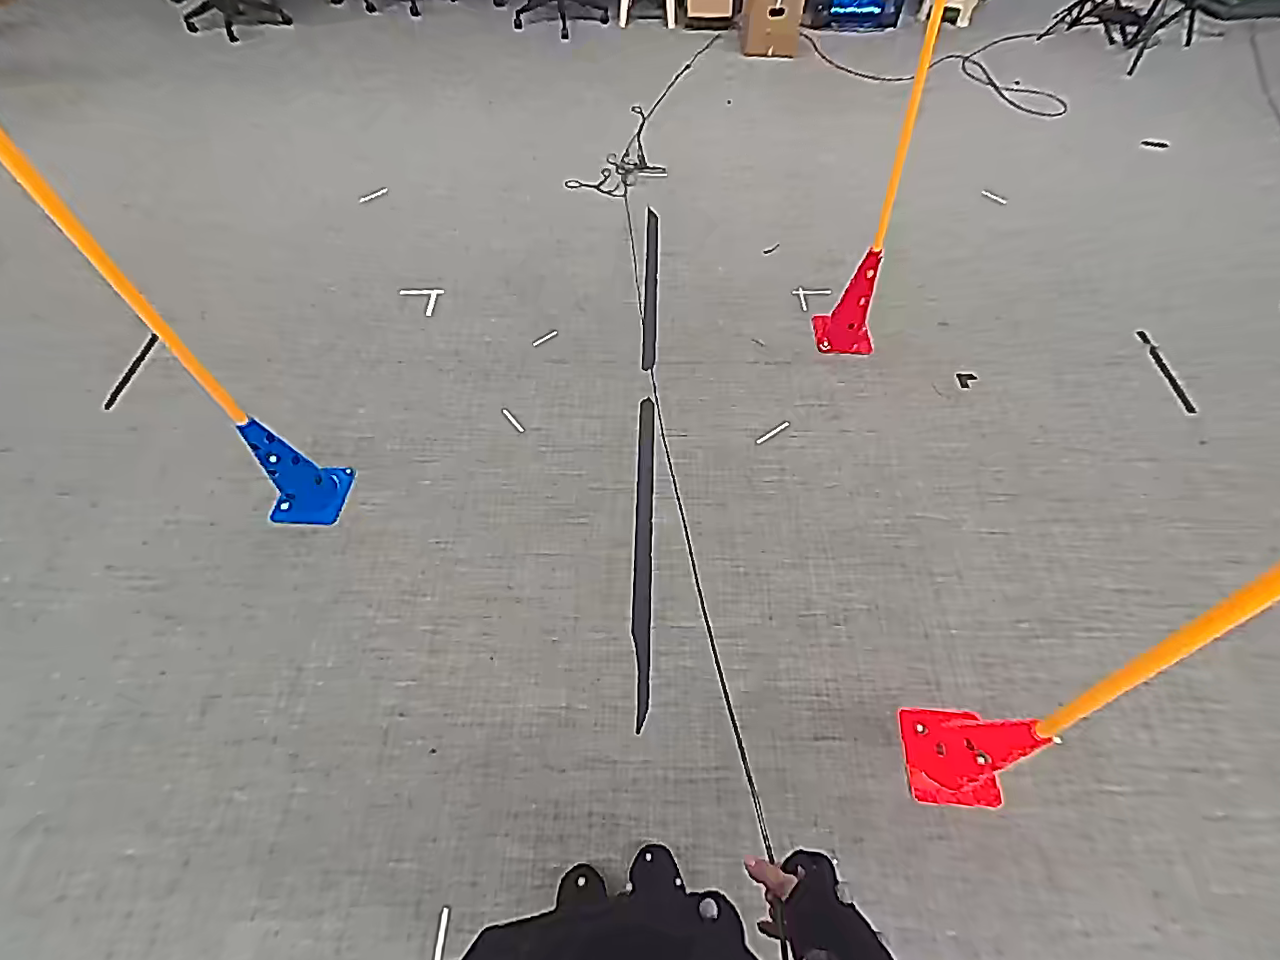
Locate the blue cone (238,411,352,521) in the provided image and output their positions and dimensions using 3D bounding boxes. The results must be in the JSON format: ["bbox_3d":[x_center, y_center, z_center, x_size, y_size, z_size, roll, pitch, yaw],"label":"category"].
[{"bbox_3d":[-0.991,-0.050,1.505,0.193,0.380,0.192,4,56,2],"label":"blue cone"}]

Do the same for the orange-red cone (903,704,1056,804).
[{"bbox_3d":[0.713,0.533,1.096,0.198,0.360,0.199,3,58,3],"label":"orange-red cone"}]
